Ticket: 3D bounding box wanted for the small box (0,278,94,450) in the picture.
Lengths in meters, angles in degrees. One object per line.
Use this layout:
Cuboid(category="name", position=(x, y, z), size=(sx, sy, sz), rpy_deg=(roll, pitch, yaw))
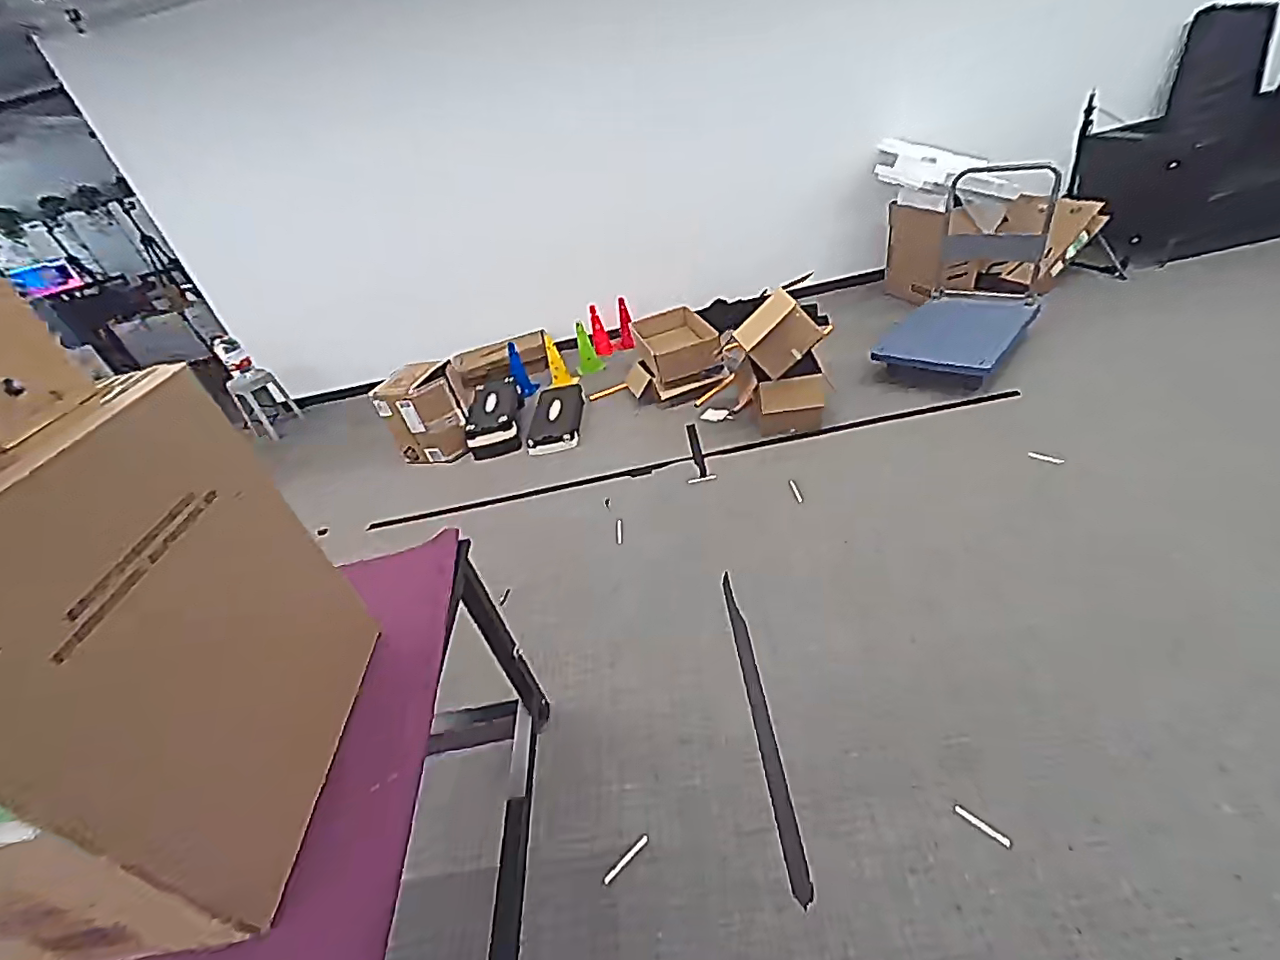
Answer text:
Cuboid(category="small box", position=(-0.838, -0.121, 0.639), size=(0.179, 0.176, 0.168), rpy_deg=(-13, 36, -1))
